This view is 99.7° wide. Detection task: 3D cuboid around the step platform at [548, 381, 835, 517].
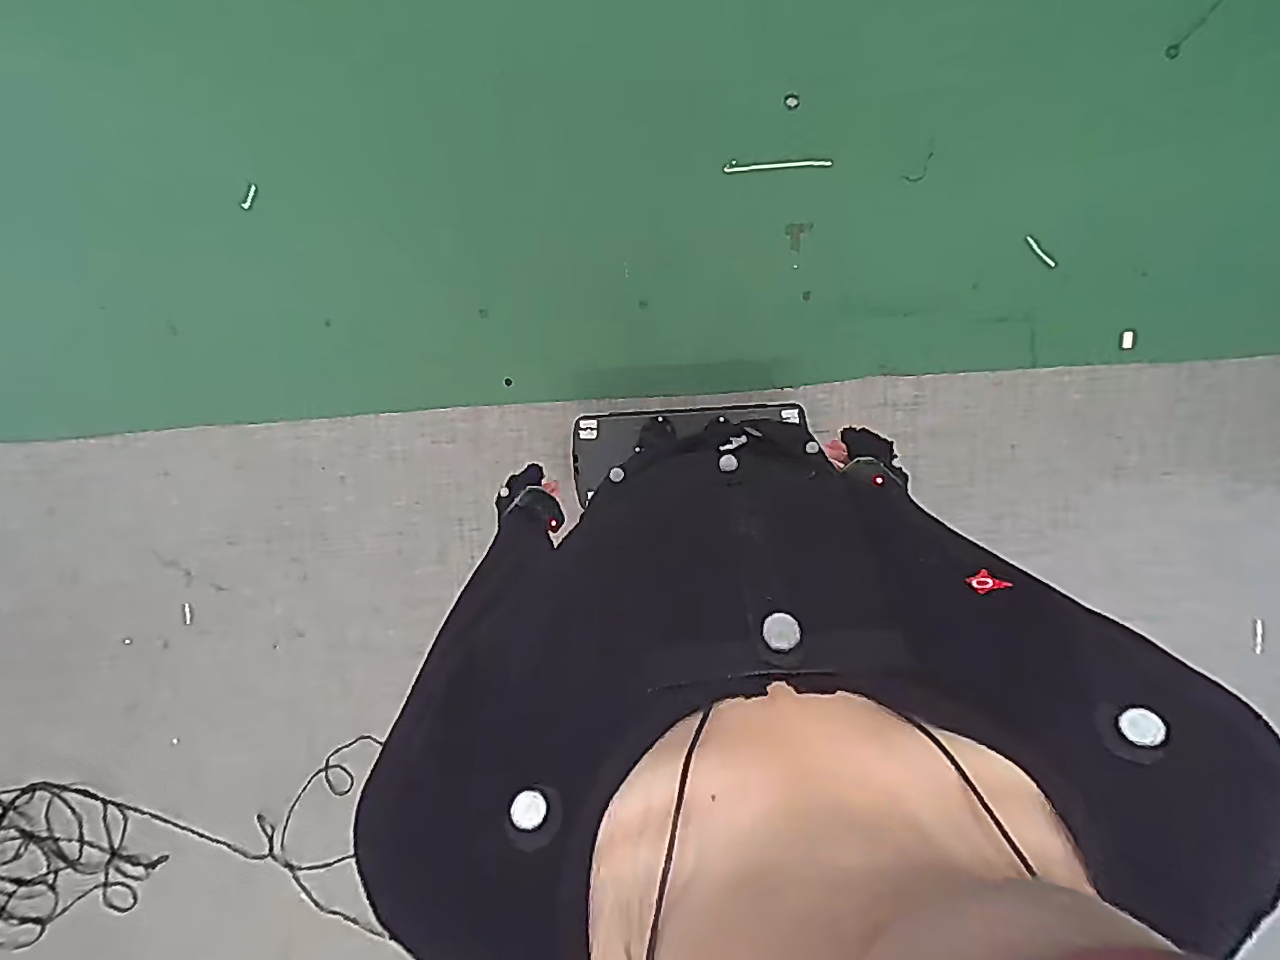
[{"bbox_3d":[0.124,-0.082,1.377,0.684,0.204,0.286,-4,96,3],"label":"step platform"}]
